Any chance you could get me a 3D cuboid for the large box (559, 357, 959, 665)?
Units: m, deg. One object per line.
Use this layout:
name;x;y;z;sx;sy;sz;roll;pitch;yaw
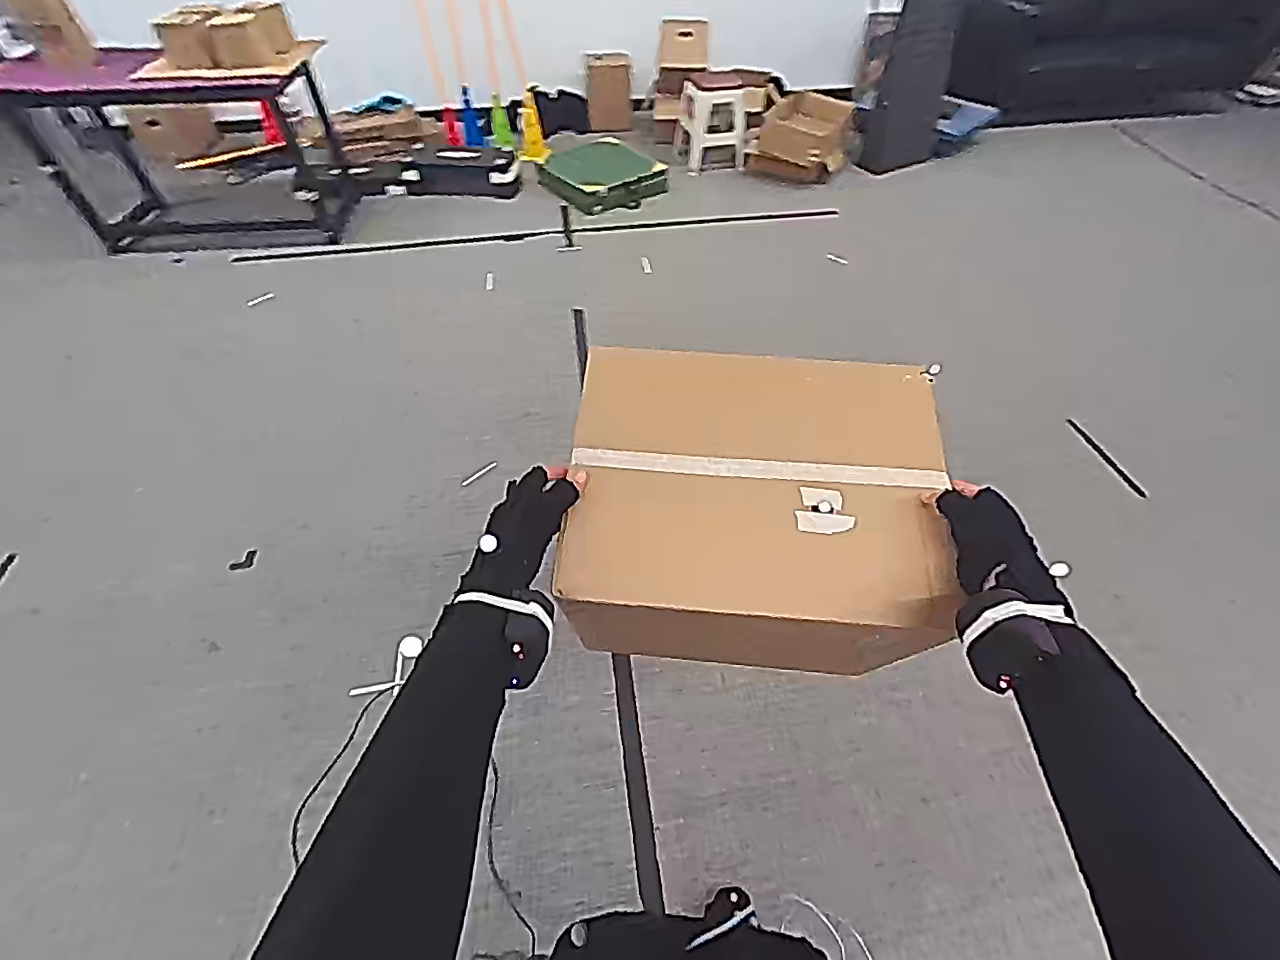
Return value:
large box;0.124;0.059;0.732;0.408;0.320;0.320;4;64;2
